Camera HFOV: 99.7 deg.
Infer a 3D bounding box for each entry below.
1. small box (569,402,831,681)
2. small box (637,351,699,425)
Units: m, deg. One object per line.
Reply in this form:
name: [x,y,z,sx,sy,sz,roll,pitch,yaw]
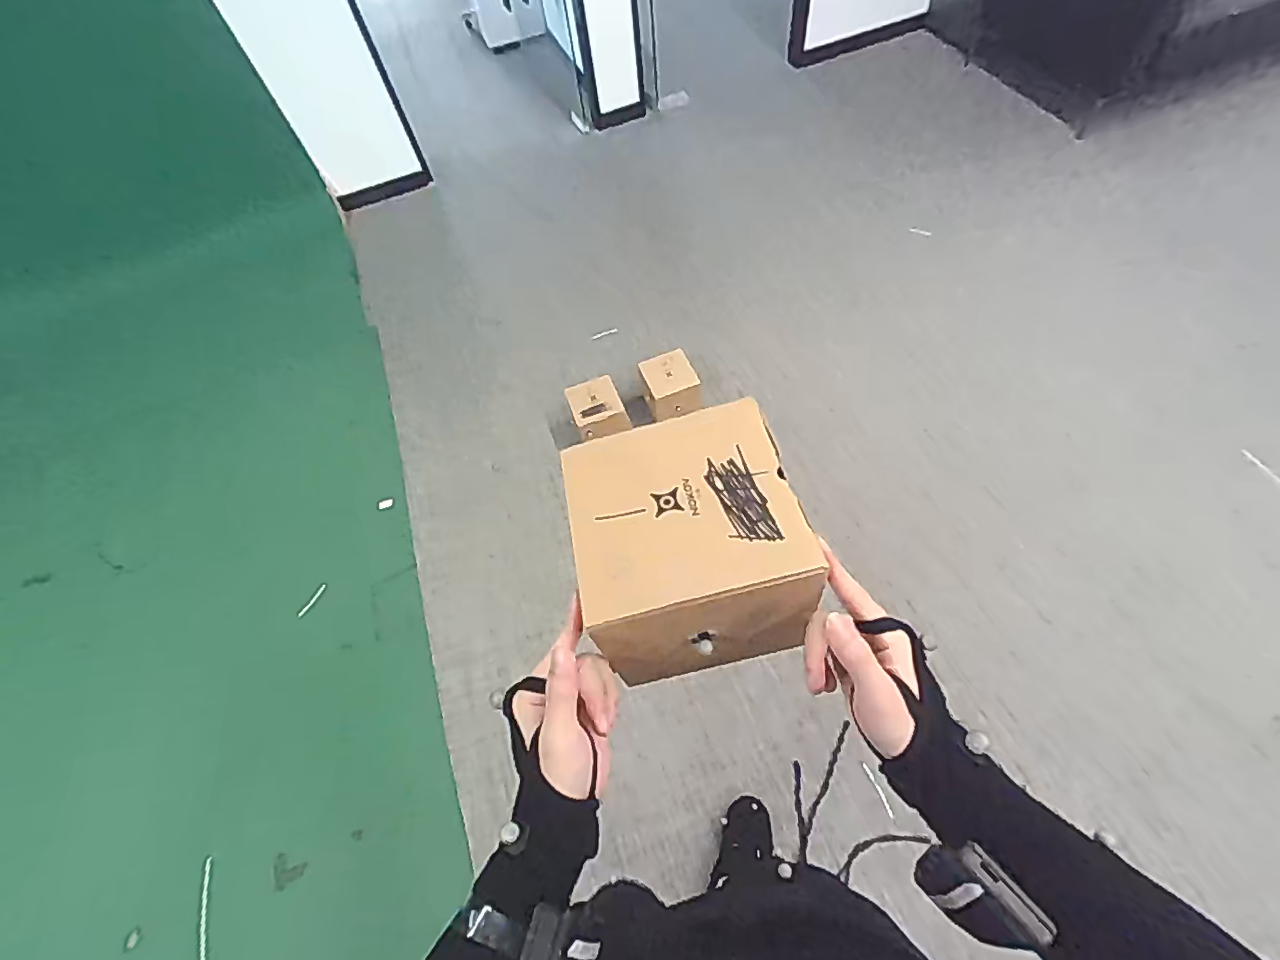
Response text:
small box: [0.048,0.062,0.485,0.179,0.176,0.168,-15,53,2]
small box: [0.102,-0.313,1.901,0.168,0.176,0.179,-21,60,-6]
